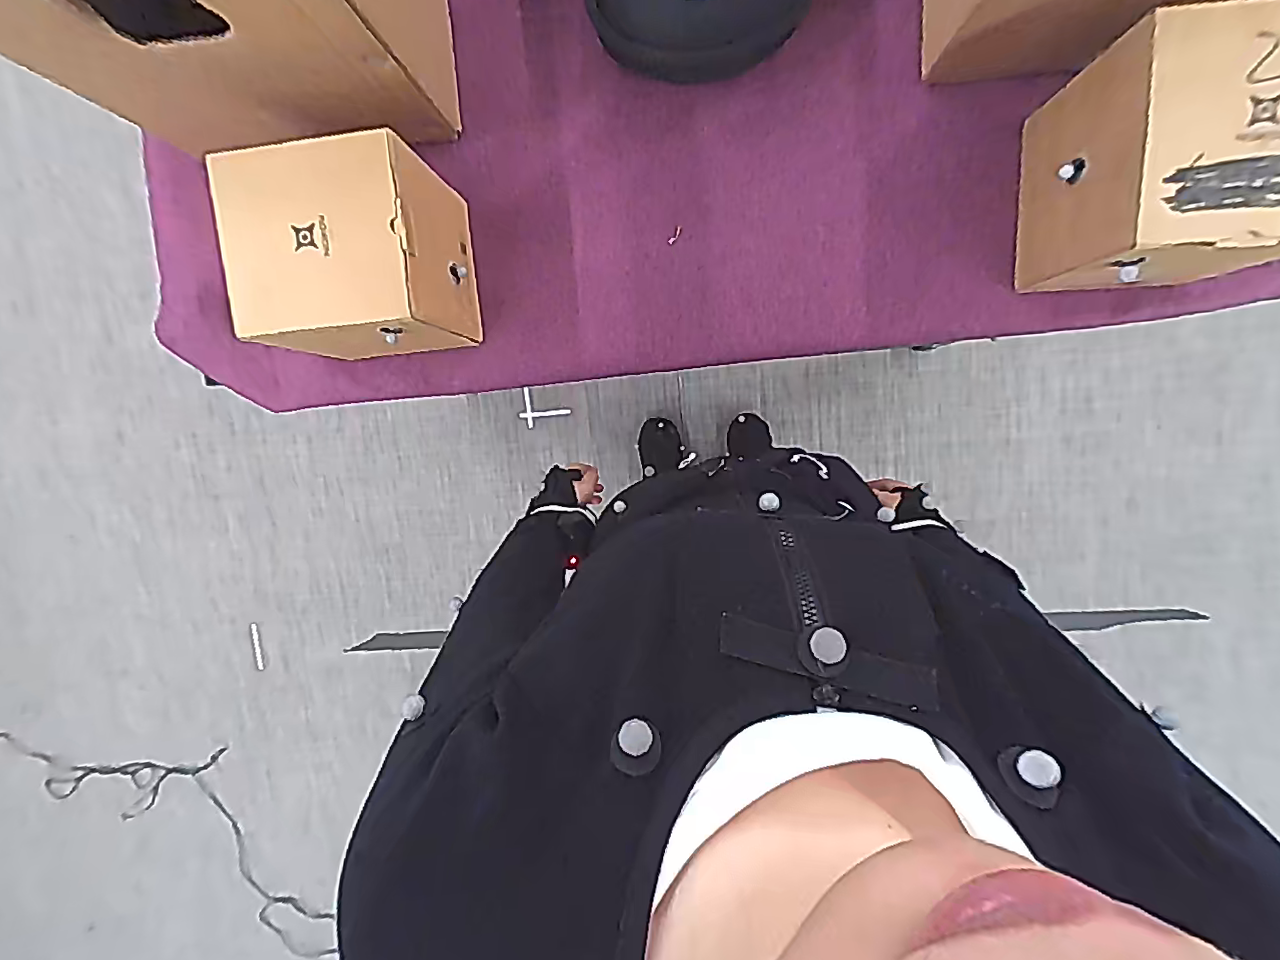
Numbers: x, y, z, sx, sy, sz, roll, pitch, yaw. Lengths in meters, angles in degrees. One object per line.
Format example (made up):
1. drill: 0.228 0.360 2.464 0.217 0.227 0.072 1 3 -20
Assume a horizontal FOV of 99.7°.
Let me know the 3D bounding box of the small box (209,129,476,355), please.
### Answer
1. small box: -0.296 -0.232 0.574 0.179 0.176 0.168 -6 96 5

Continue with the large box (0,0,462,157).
1. large box: -0.380 -0.561 0.465 0.320 0.320 0.408 -4 100 4
